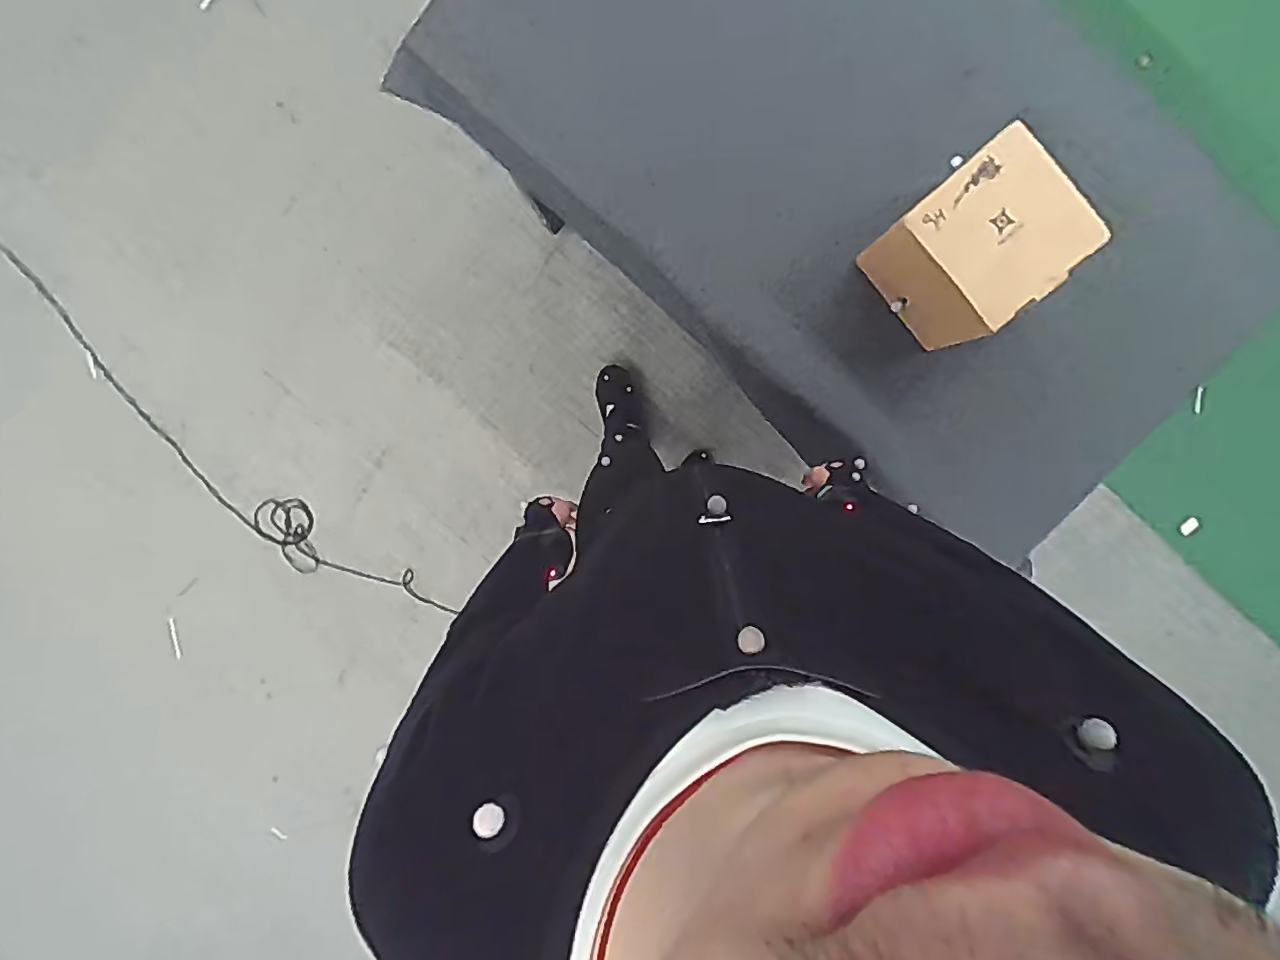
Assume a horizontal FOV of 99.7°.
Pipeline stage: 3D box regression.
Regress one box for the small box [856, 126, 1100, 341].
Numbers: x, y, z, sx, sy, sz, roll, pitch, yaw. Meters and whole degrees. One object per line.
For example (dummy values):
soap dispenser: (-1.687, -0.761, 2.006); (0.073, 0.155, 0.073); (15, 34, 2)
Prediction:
small box: (0.423, -0.300, 0.709); (0.168, 0.176, 0.179); (-40, 94, 7)
